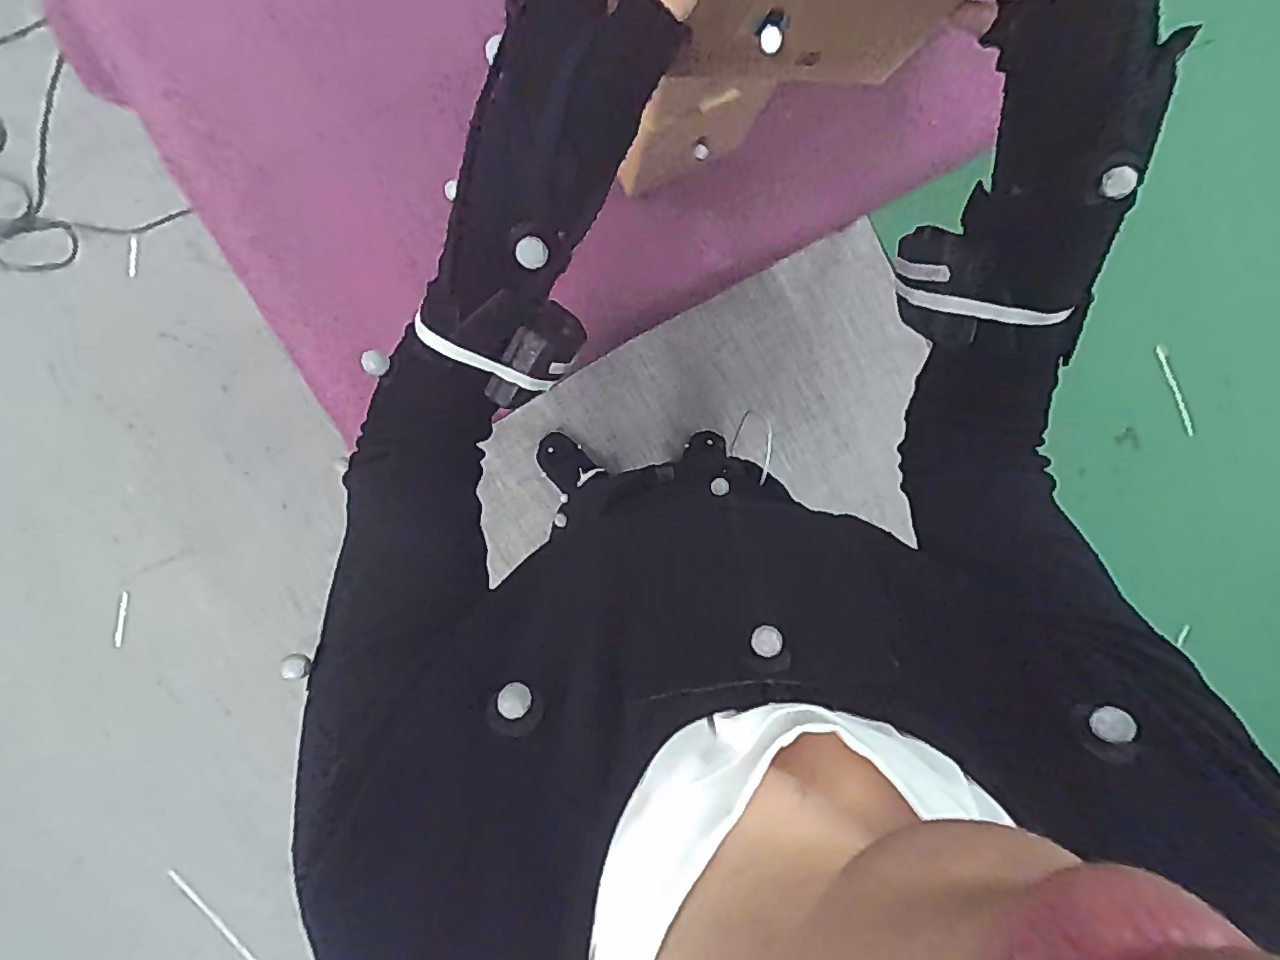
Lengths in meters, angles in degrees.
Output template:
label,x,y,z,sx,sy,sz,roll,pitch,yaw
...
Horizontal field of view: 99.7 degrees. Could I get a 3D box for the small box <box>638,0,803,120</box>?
label,x,y,z,sx,sy,sz,roll,pitch,yaw
small box,0.098,-0.446,0.458,0.168,0.176,0.179,-24,98,-5
